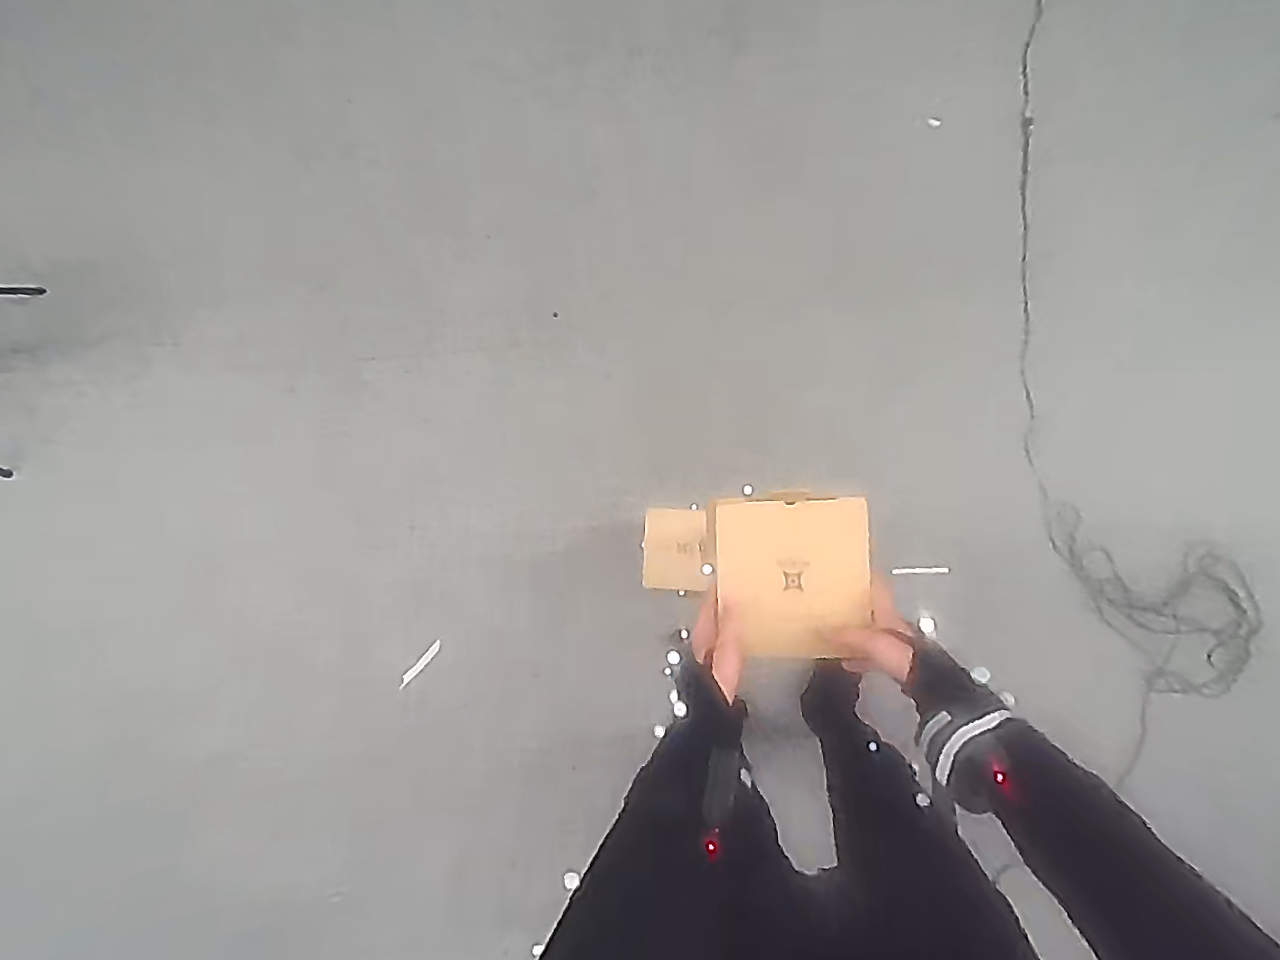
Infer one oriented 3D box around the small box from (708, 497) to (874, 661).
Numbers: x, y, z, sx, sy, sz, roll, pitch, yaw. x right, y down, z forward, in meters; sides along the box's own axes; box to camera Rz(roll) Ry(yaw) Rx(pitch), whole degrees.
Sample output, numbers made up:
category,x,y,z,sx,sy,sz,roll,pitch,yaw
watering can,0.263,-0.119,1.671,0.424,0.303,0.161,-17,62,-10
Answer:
category,x,y,z,sx,sy,sz,roll,pitch,yaw
small box,0.172,0.111,0.663,0.168,0.176,0.179,-1,88,3
